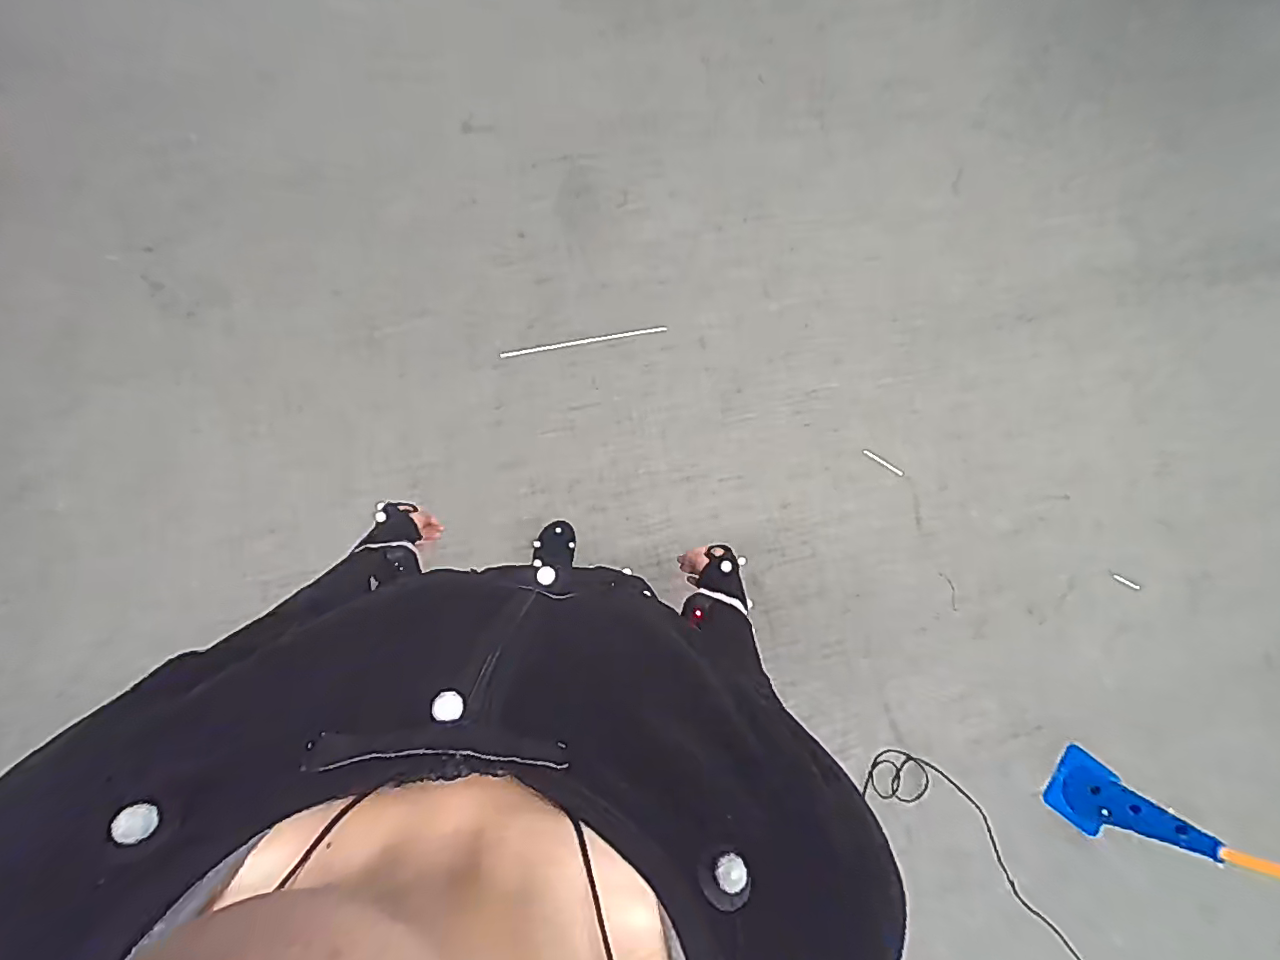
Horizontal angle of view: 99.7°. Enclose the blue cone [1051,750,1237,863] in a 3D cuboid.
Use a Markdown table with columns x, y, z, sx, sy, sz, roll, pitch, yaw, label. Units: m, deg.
| x | y | z | sx | sy | sz | roll | pitch | yaw | label |
| --- | --- | --- | --- | --- | --- | --- | --- | --- | --- |
| 1.338 | 0.895 | 1.436 | 0.192 | 0.380 | 0.193 | 36 | 78 | -1 | blue cone |
